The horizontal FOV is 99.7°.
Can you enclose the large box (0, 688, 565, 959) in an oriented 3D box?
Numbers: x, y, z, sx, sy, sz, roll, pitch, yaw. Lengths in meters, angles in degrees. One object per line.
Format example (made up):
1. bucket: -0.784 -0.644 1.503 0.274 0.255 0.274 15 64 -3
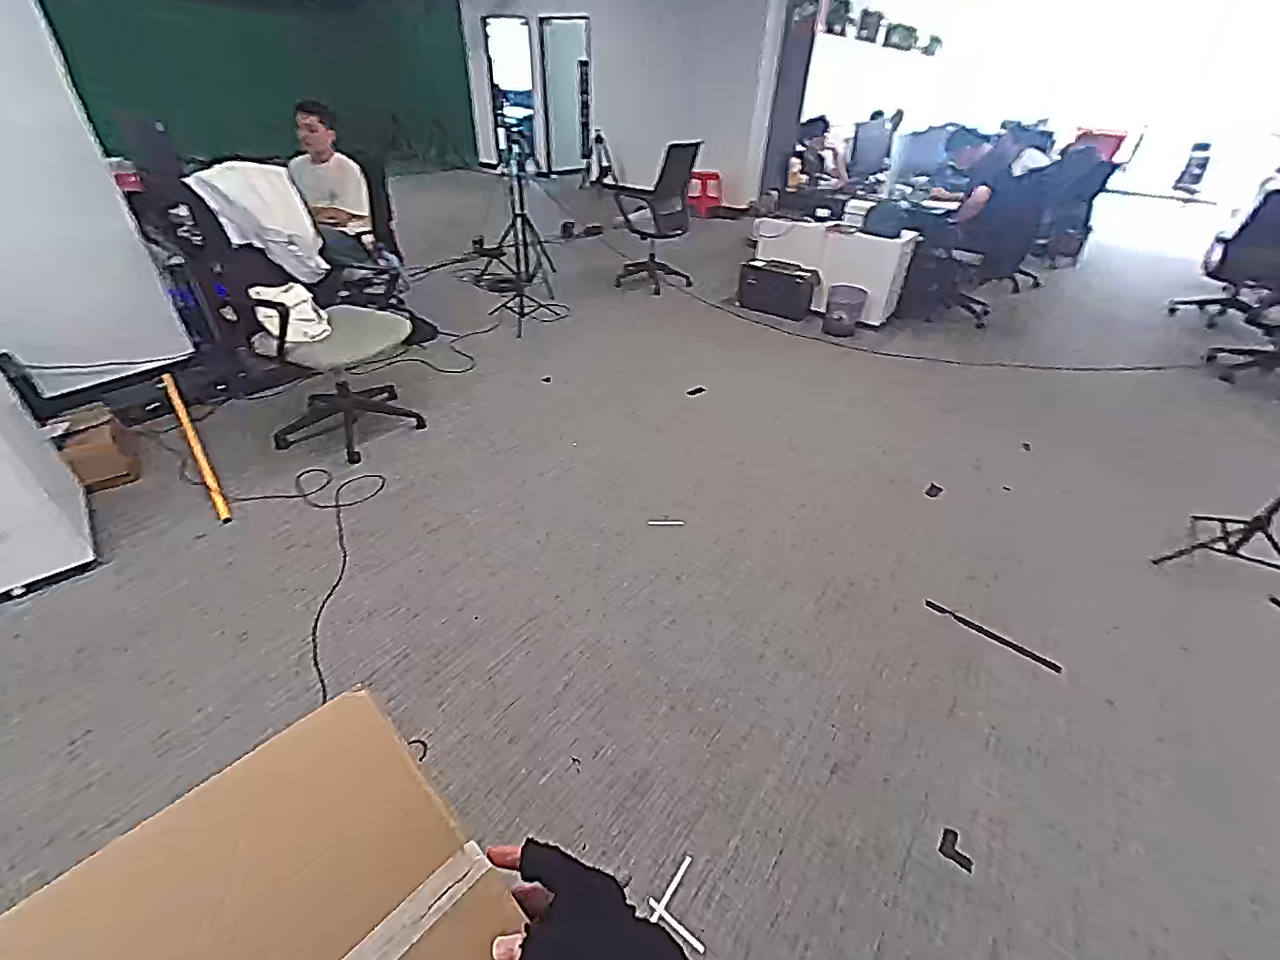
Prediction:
1. large box: -0.263 0.438 0.349 0.320 0.320 0.408 40 51 24
